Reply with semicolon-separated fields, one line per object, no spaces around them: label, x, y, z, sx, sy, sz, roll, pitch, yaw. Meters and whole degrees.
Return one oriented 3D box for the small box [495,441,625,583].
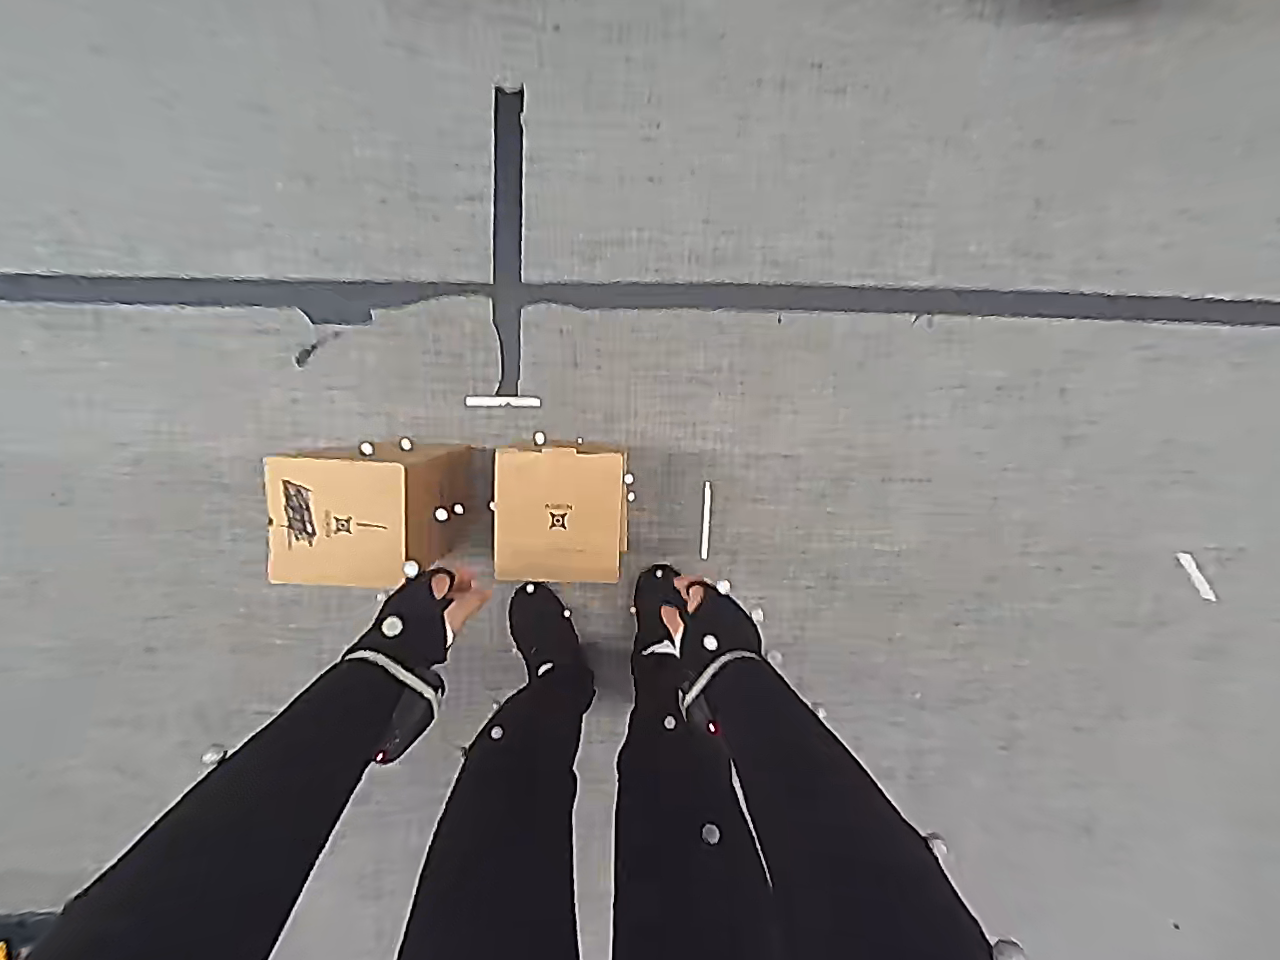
small box;-0.108;0.037;0.779;0.168;0.176;0.179;2;99;-2

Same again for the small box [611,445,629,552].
small box;-0.110;0.025;0.942;0.179;0.176;0.168;0;98;-2

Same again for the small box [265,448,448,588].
small box;-0.388;0.045;0.765;0.179;0.176;0.168;3;98;-3

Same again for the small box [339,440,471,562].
small box;-0.397;0.029;0.930;0.168;0.176;0.179;3;98;-2
